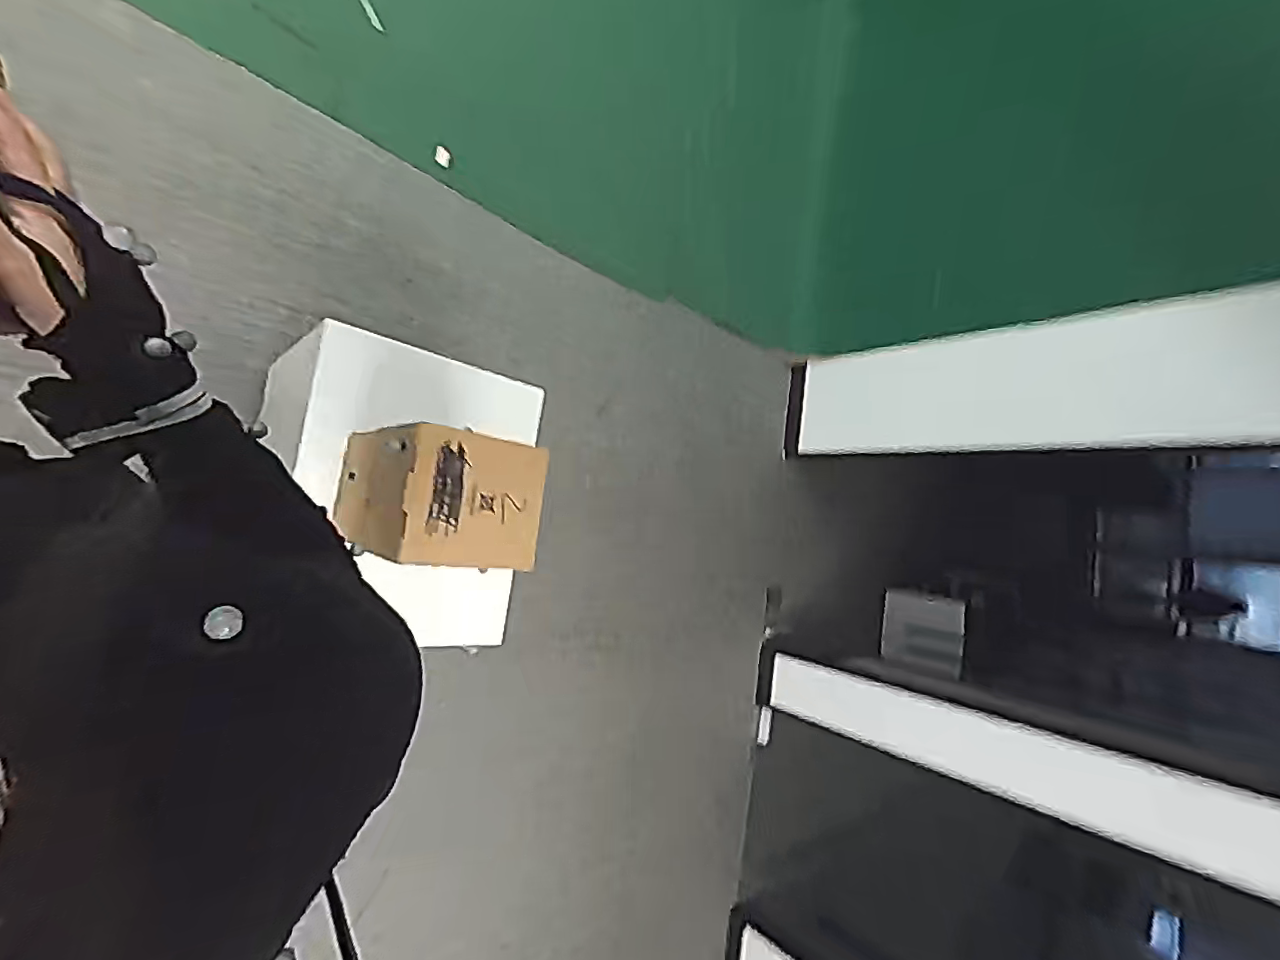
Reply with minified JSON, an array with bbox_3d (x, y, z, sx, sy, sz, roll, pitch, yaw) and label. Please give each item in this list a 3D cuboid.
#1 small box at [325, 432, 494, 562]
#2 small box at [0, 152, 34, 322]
[{"bbox_3d":[-0.355,0.027,0.833,0.179,0.176,0.168,15,81,-42],"label":"small box"},{"bbox_3d":[-0.430,-0.165,0.233,0.168,0.176,0.179,-9,105,-28],"label":"small box"}]
